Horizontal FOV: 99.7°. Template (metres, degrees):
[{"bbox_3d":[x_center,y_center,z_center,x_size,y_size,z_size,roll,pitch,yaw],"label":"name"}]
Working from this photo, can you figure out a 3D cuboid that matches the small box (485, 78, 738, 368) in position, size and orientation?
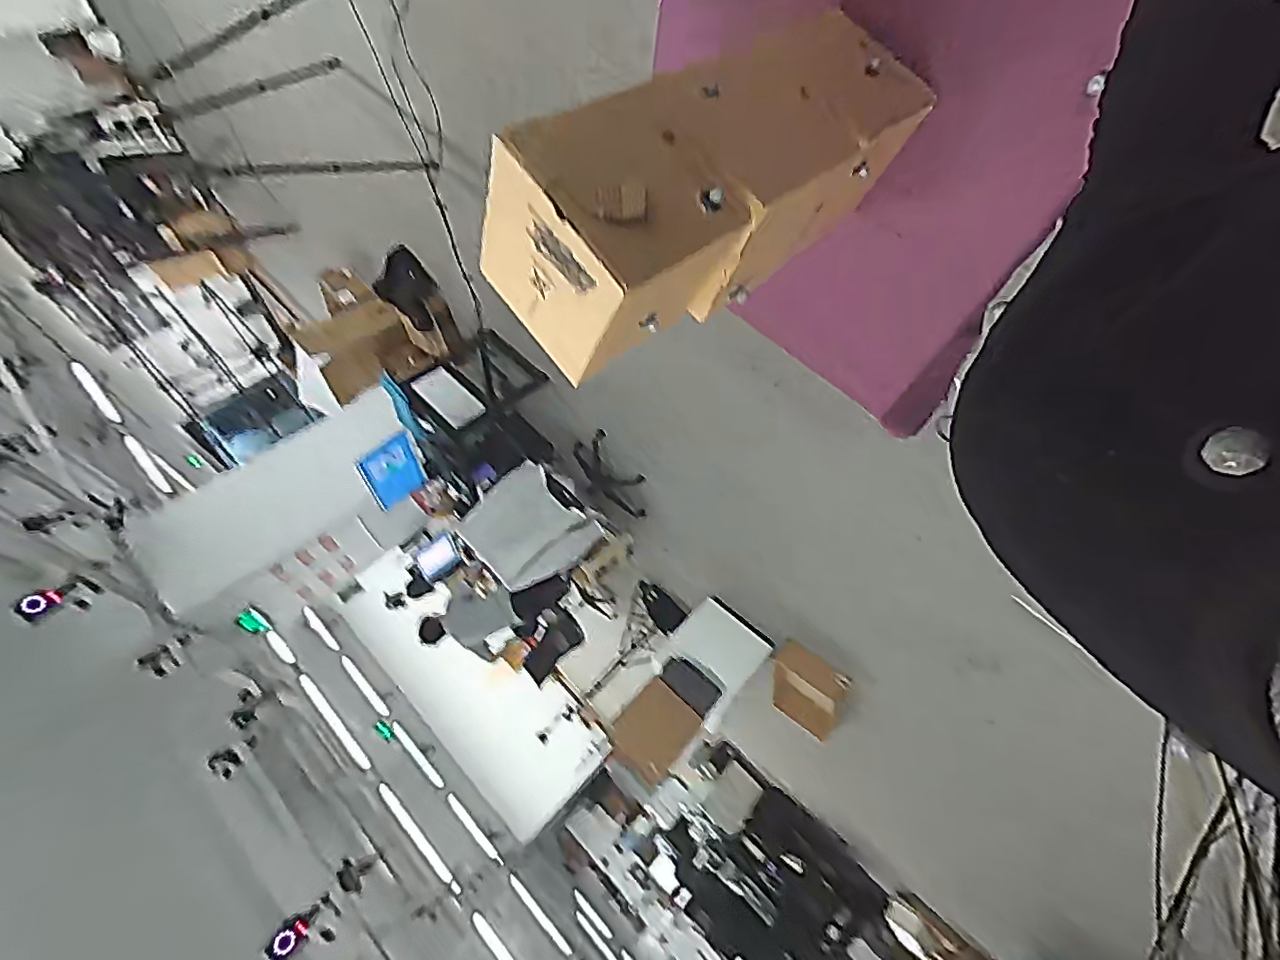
[{"bbox_3d":[-0.029,-0.251,0.540,0.168,0.176,0.179,51,154,1],"label":"small box"}]

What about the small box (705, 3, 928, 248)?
[{"bbox_3d":[0.211,-0.435,0.671,0.168,0.176,0.179,47,153,7],"label":"small box"}]
